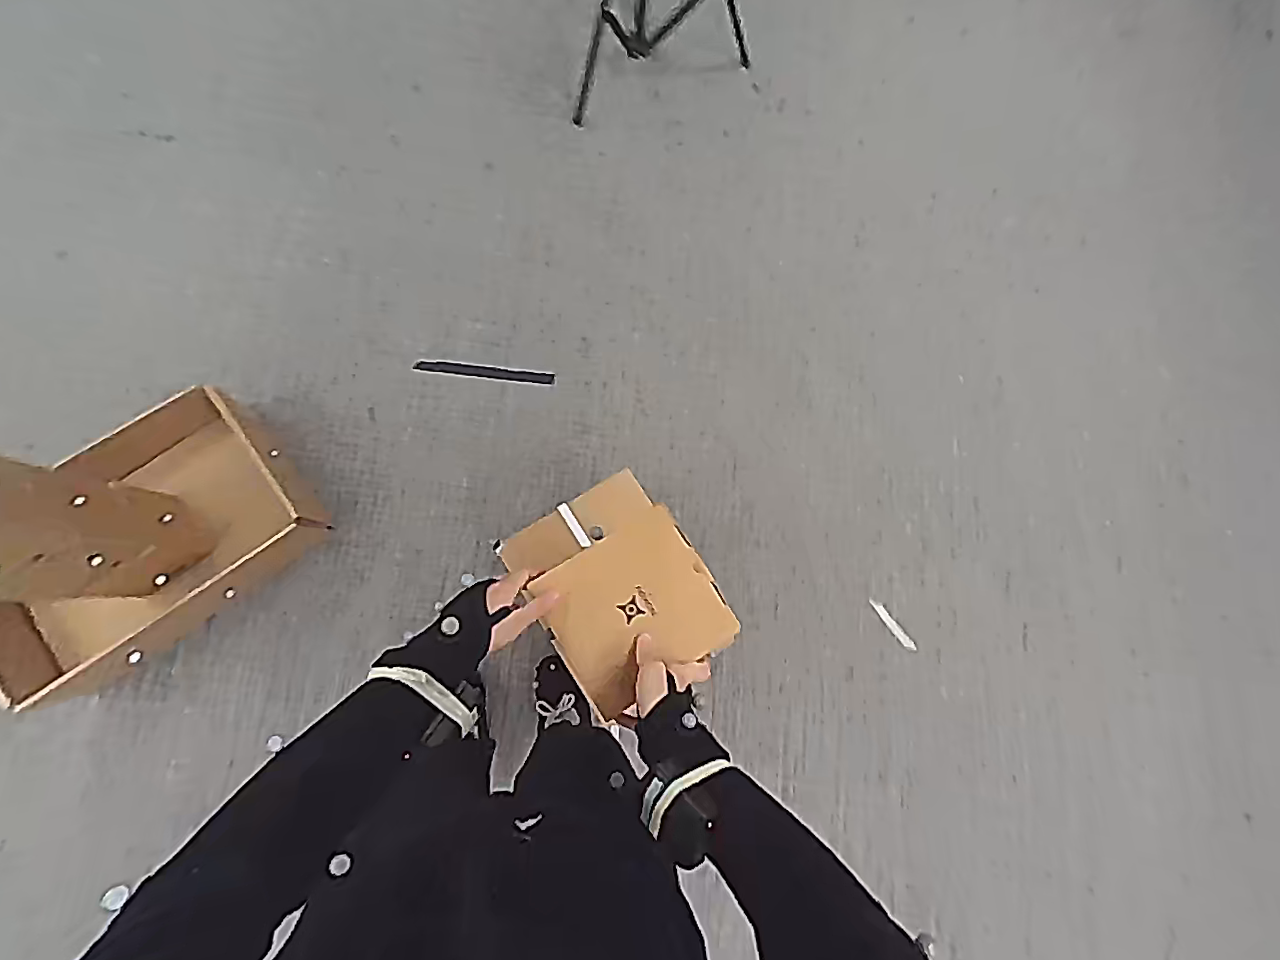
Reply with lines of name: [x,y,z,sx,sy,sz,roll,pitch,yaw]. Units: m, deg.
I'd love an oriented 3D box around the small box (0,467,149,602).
small box: [-1.085,0.106,1.000,0.168,0.176,0.179,-41,84,-13]

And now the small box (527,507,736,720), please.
small box: [-0.016,0.156,0.659,0.179,0.176,0.168,-31,83,-12]

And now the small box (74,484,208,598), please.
small box: [-1.094,0.136,1.158,0.168,0.176,0.179,-37,85,-11]
